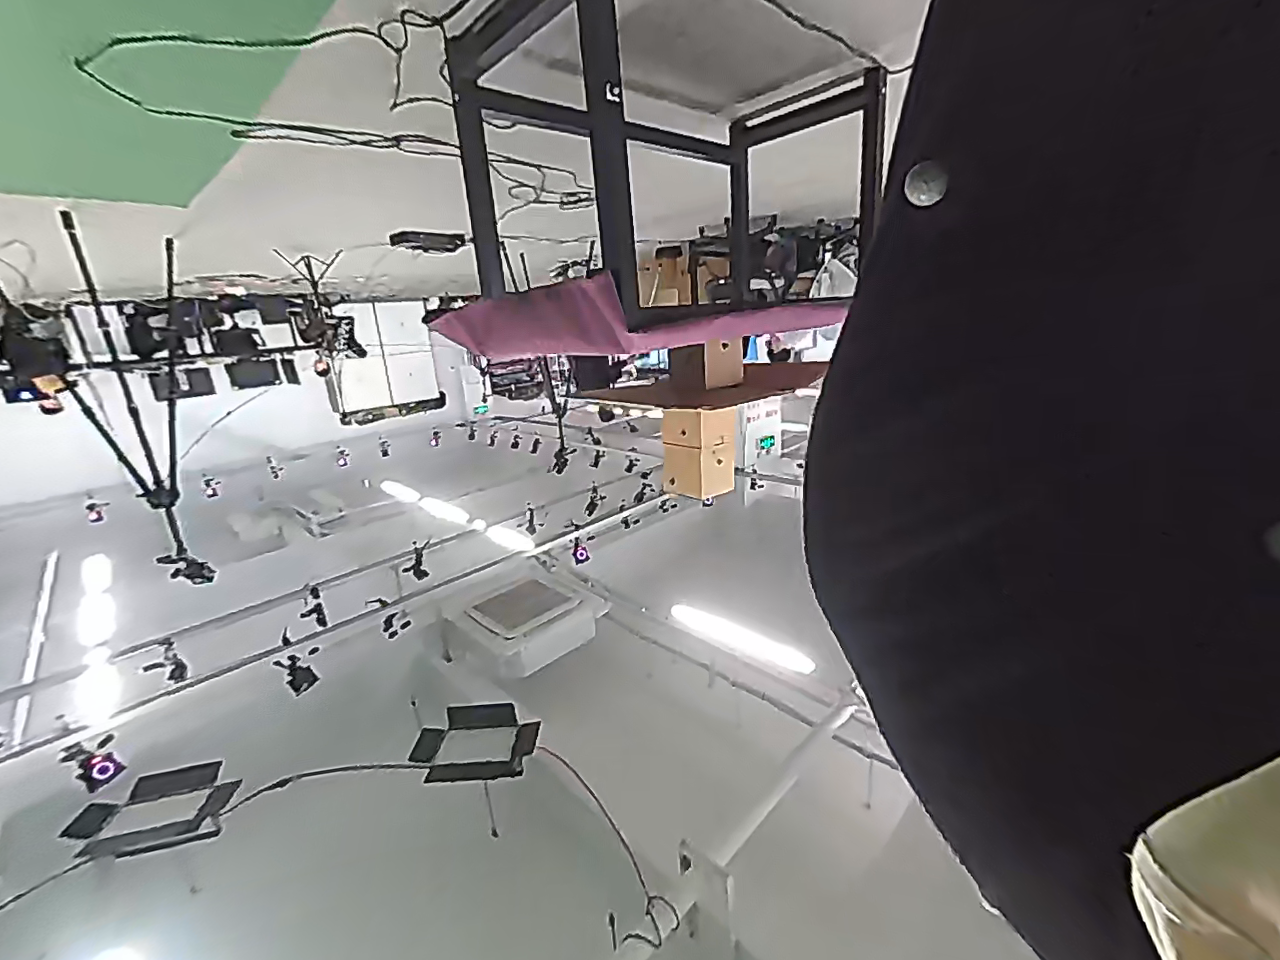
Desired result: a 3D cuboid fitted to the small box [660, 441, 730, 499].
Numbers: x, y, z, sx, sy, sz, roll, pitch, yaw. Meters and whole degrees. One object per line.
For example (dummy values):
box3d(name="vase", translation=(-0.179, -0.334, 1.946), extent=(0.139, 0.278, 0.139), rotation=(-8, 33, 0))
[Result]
box3d(name="small box", translation=(0.183, -0.050, 1.790), extent=(0.168, 0.176, 0.179), rotation=(-16, -161, -40))

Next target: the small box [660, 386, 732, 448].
box3d(name="small box", translation=(0.177, -0.207, 1.745), extent=(0.168, 0.176, 0.179), rotation=(-15, -160, -40))
